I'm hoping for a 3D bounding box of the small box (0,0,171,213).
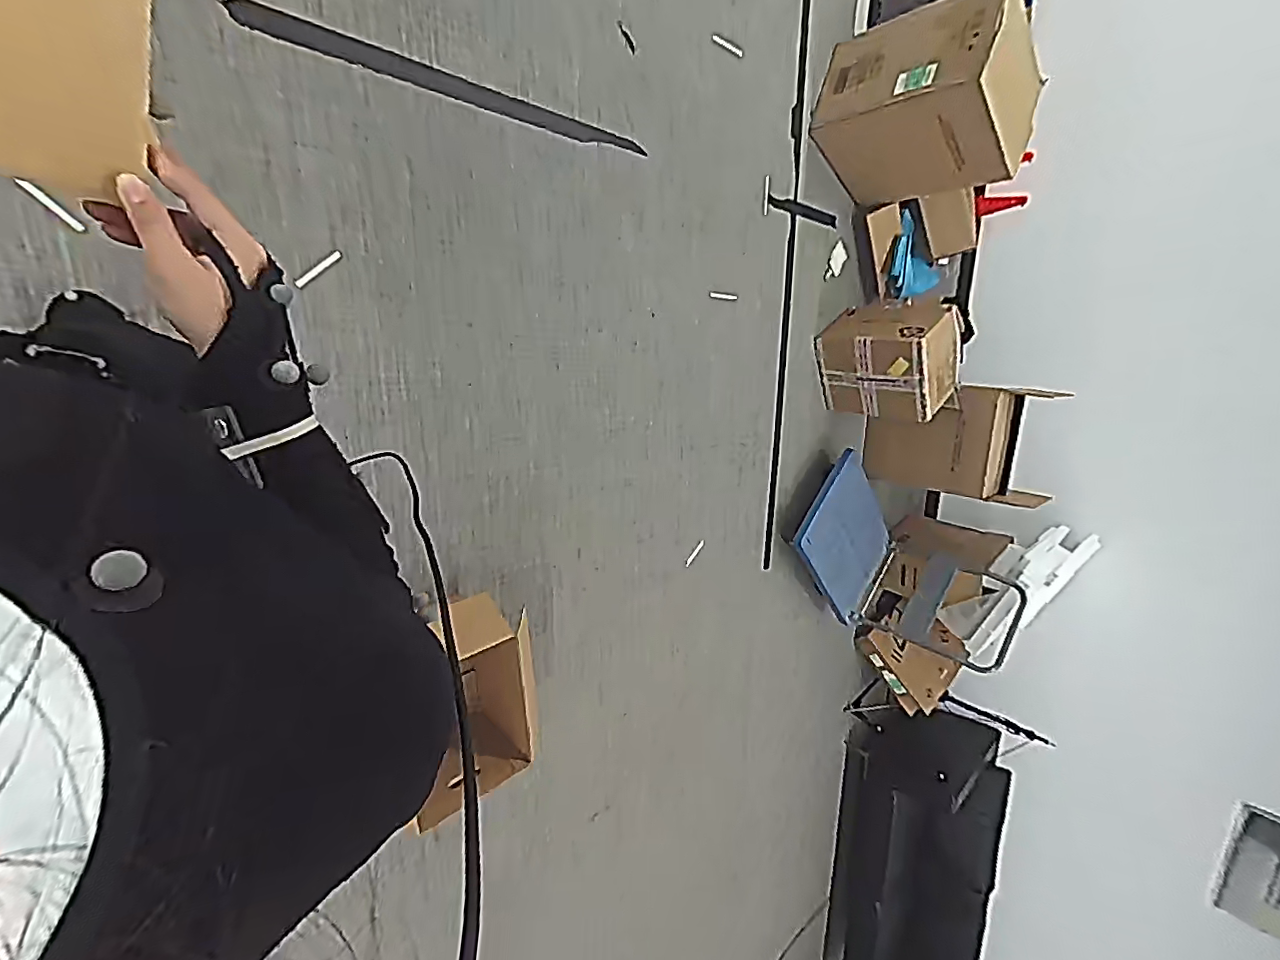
[{"bbox_3d":[-0.375,-0.268,0.287,0.179,0.176,0.168,0,117,-46],"label":"small box"}]
